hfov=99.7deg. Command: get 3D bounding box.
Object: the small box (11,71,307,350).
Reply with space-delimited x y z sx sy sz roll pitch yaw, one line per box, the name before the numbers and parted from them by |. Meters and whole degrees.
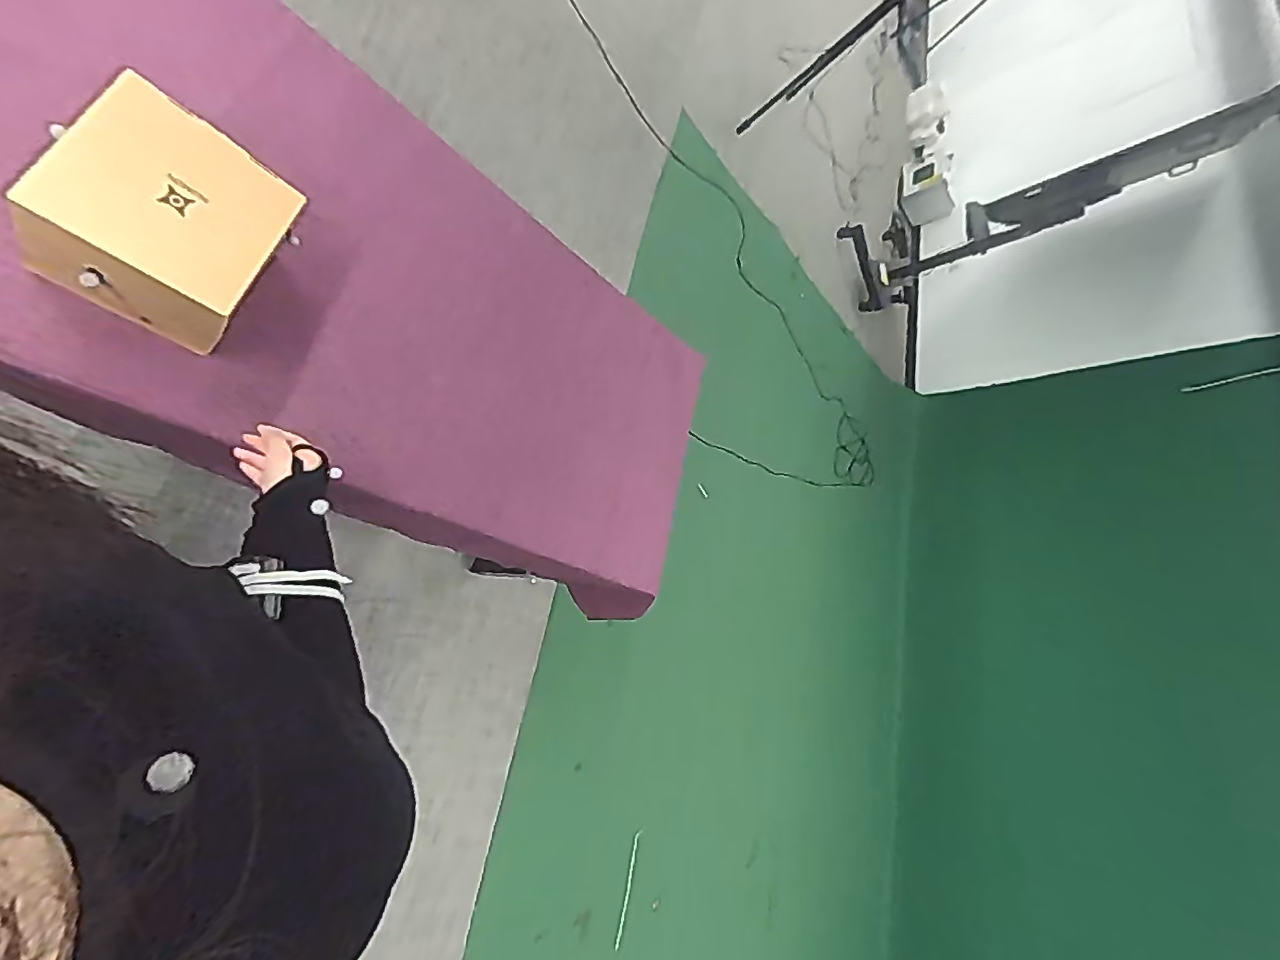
small box | -0.502 -0.268 0.584 0.168 0.176 0.179 33 62 -38
